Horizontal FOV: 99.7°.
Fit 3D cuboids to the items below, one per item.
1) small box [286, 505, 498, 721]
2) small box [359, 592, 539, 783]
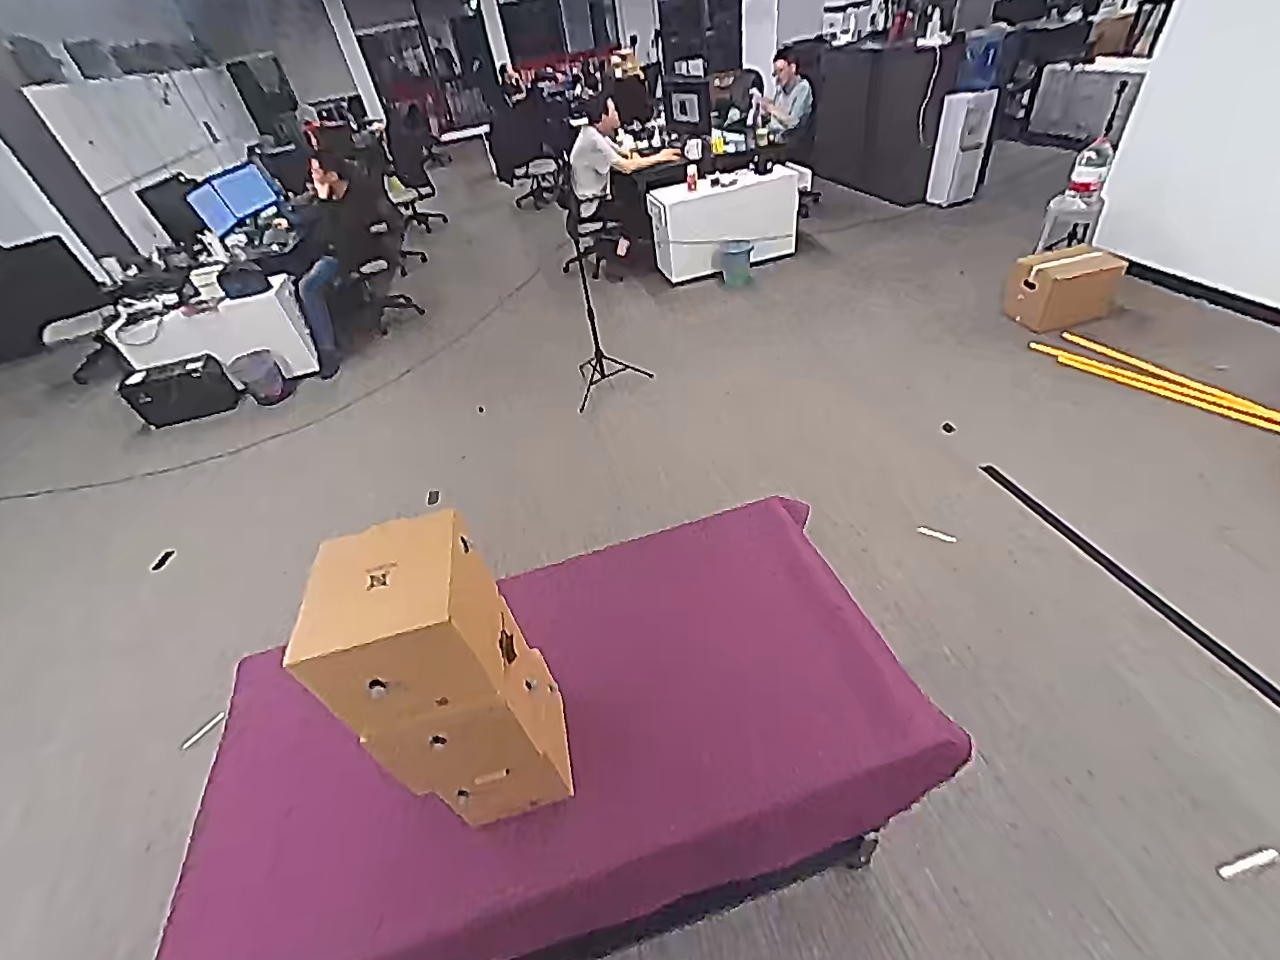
[{"bbox_3d":[-0.275,0.163,0.649,0.168,0.176,0.179,-15,40,-5],"label":"small box"},{"bbox_3d":[-0.251,0.289,0.749,0.179,0.176,0.168,-14,41,-5],"label":"small box"}]
